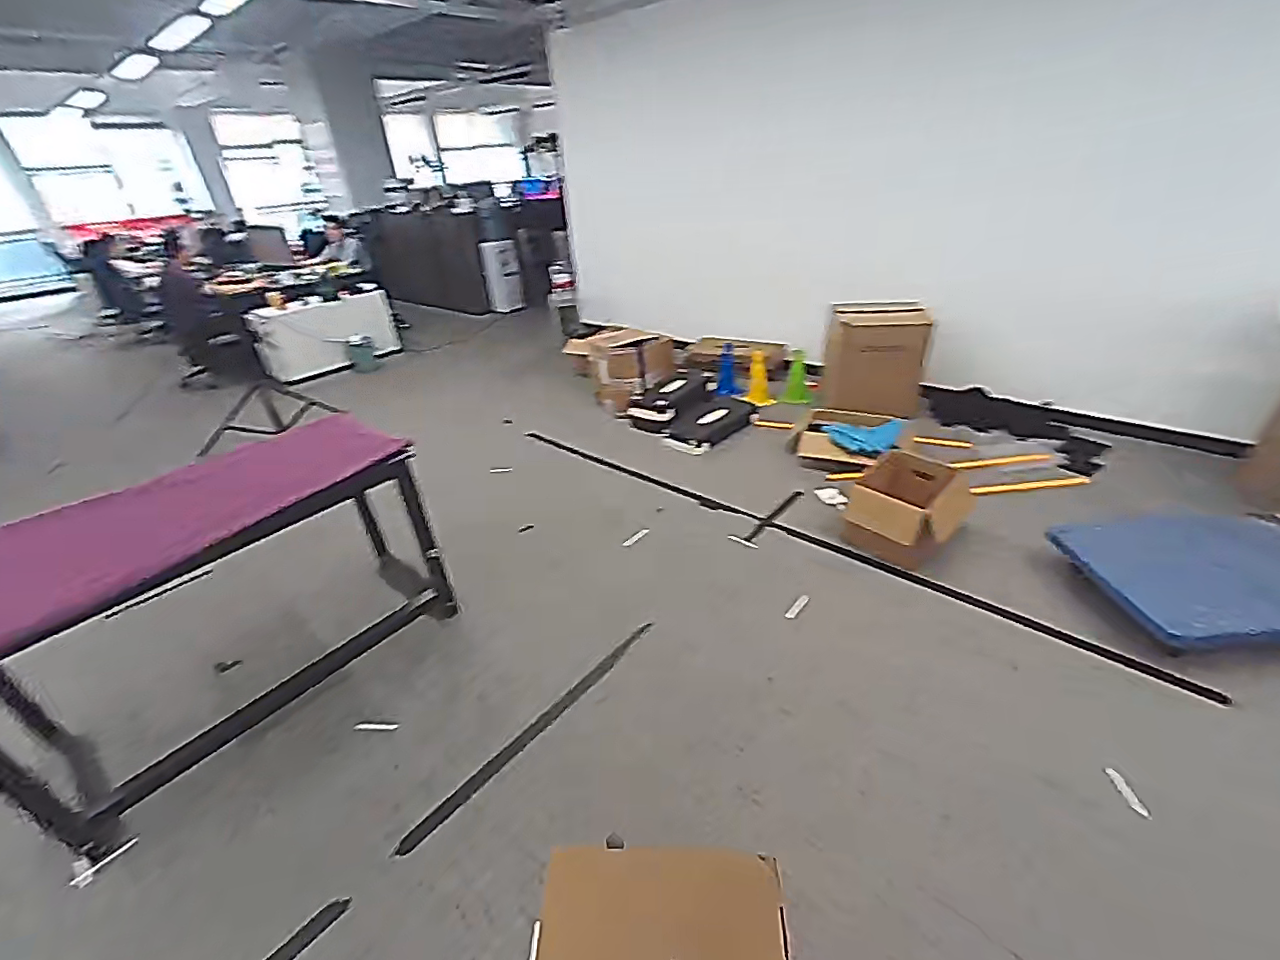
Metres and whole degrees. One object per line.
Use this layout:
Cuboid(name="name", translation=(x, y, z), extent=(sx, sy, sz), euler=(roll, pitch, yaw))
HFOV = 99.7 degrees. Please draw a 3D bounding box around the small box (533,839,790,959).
Cuboid(name="small box", translation=(0.019, 0.387, 0.407), extent=(0.179, 0.176, 0.168), euler=(-2, 47, 4))
